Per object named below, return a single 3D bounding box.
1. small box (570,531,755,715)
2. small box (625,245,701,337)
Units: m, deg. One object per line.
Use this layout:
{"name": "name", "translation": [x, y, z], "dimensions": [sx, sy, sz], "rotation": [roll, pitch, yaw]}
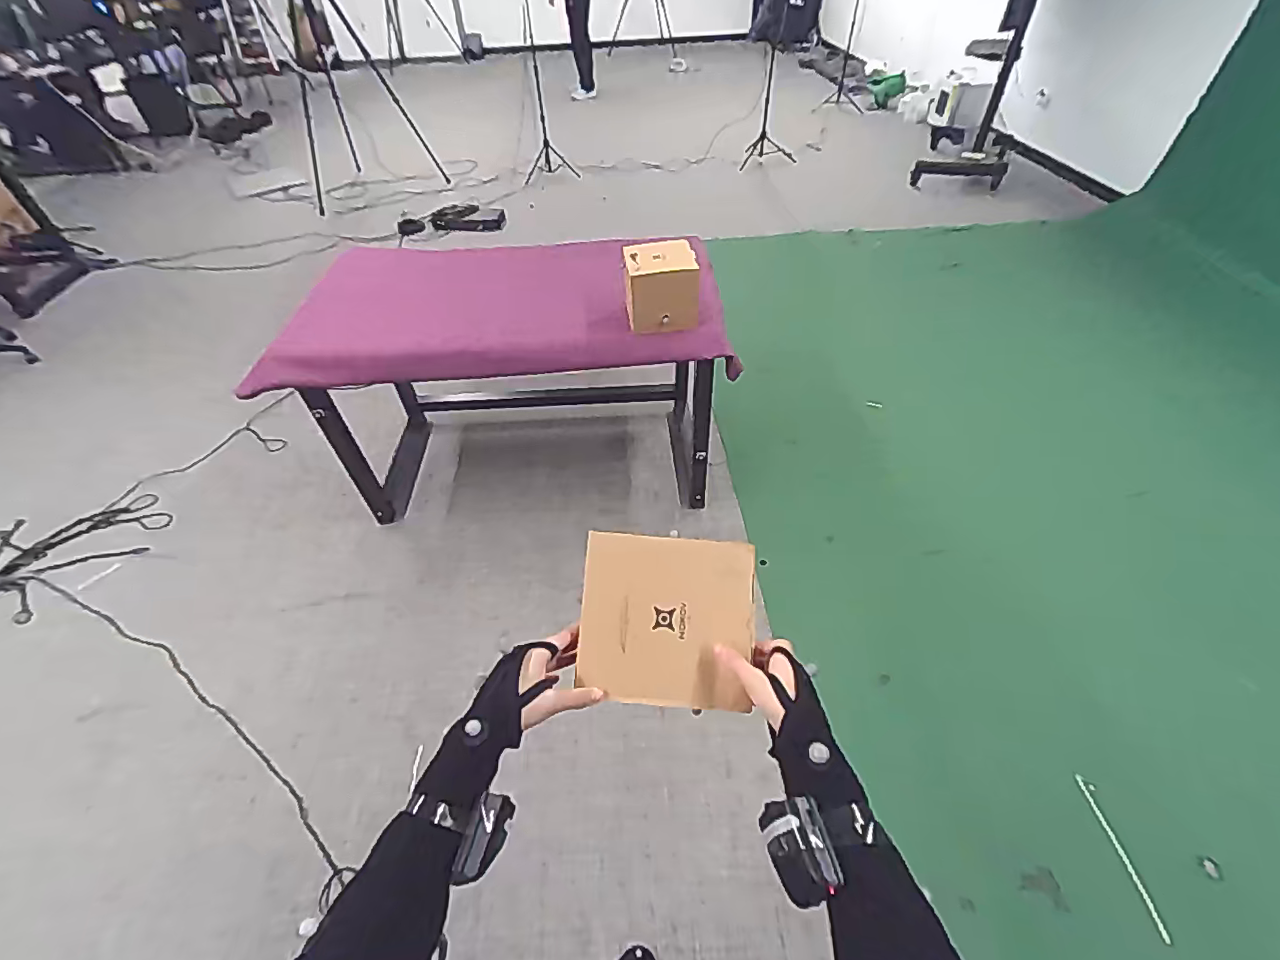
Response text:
{"name": "small box", "translation": [0.022, 0.159, 0.615], "dimensions": [0.179, 0.176, 0.168], "rotation": [5, 74, -1]}
{"name": "small box", "translation": [0.057, -0.497, 1.426], "dimensions": [0.179, 0.176, 0.168], "rotation": [-7, 47, -3]}
